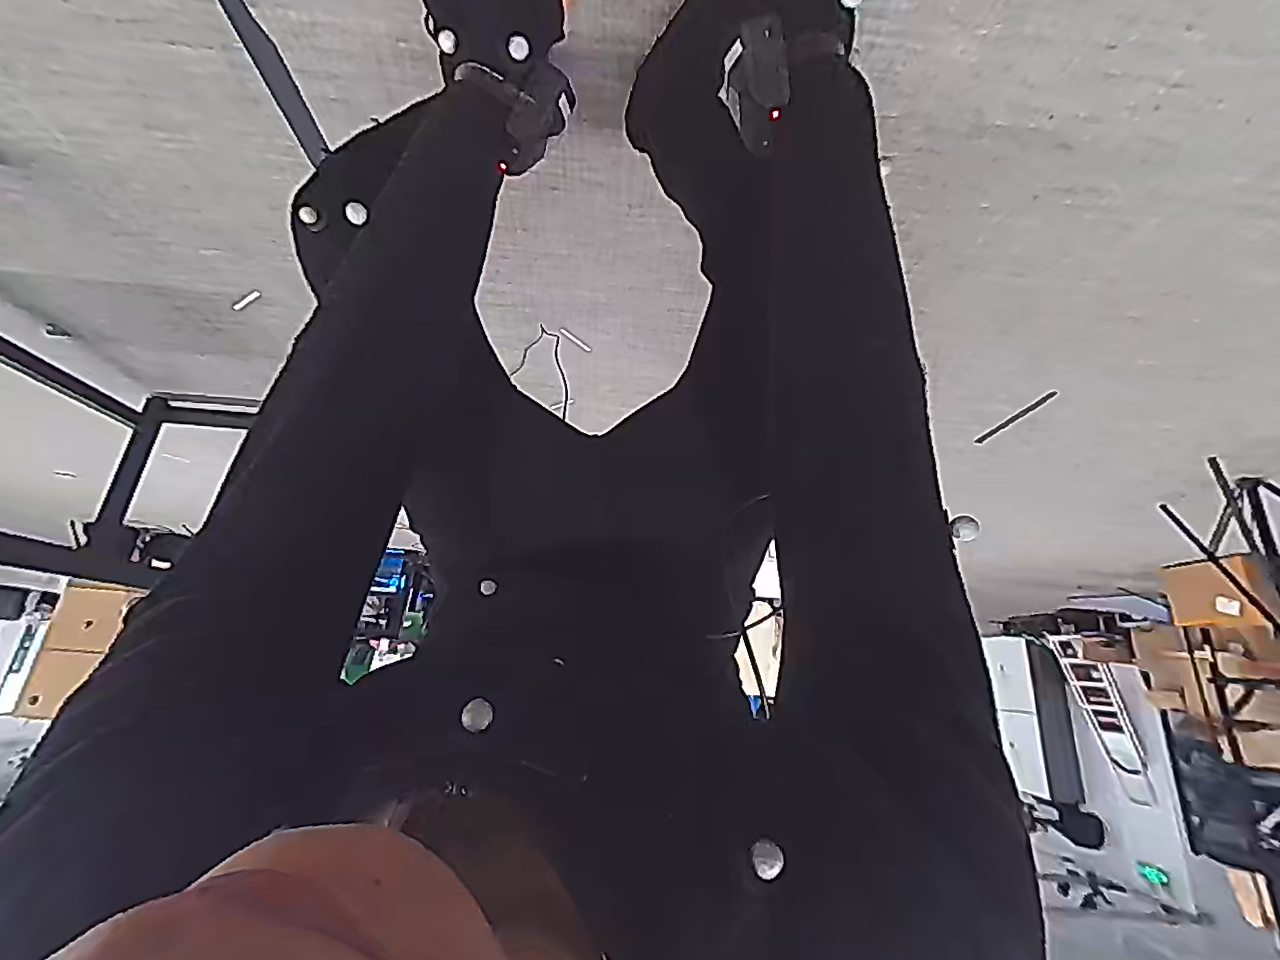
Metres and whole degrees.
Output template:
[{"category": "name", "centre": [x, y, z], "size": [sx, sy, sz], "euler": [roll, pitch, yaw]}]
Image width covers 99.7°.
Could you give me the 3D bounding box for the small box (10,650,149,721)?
[{"category": "small box", "centre": [-1.507, 0.552, 1.469], "size": [0.179, 0.176, 0.168], "euler": [5, 161, -1]}]

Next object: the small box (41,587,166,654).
[{"category": "small box", "centre": [-1.493, 0.397, 1.524], "size": [0.179, 0.176, 0.168], "euler": [4, 160, 0]}]
